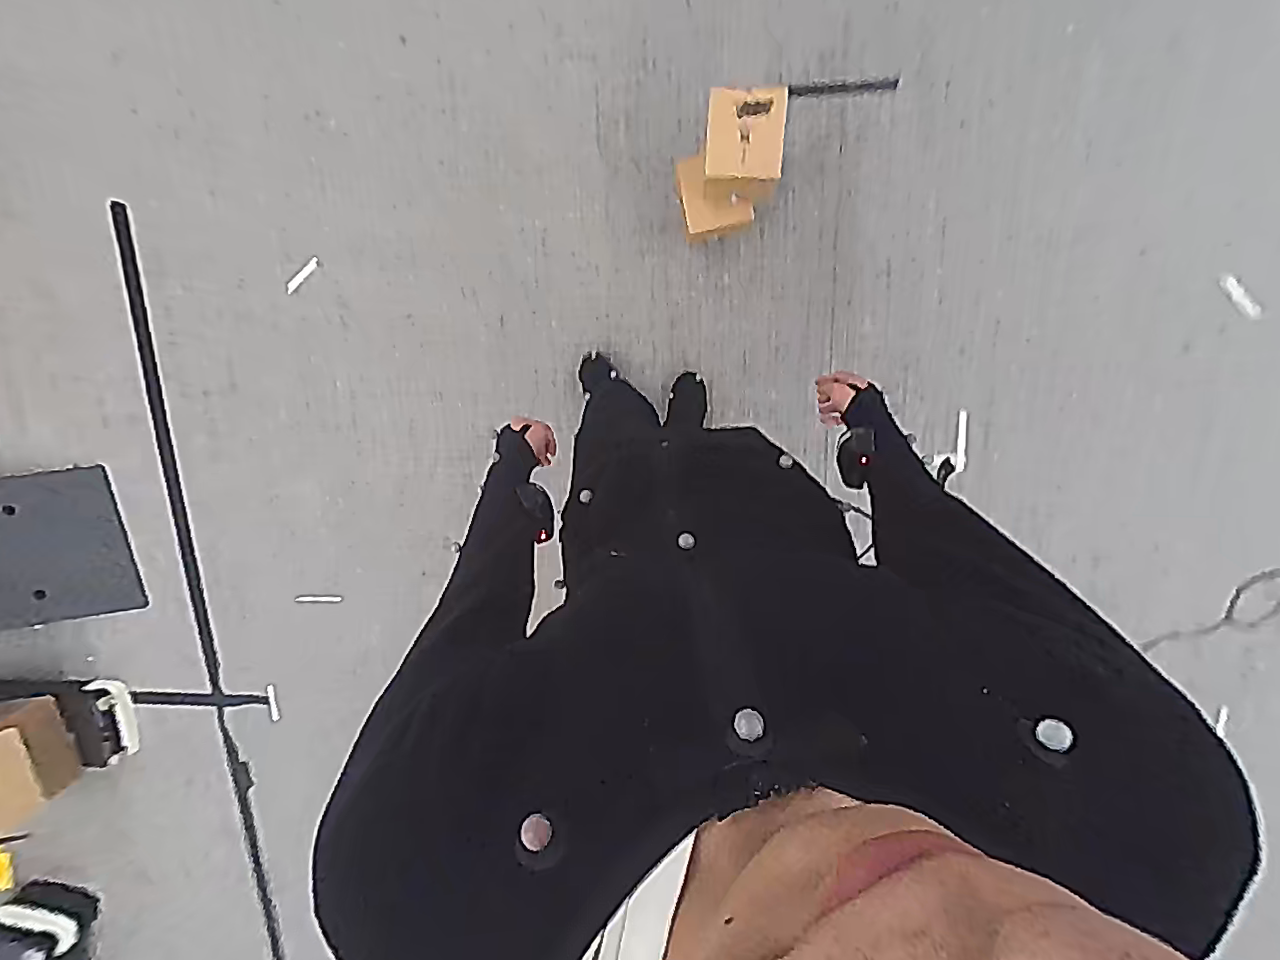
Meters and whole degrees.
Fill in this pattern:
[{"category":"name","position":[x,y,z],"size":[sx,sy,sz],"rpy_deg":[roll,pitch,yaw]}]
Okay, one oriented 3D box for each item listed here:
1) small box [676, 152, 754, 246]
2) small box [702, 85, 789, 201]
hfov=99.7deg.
[{"category":"small box","position":[0.187,-0.725,1.392],"size":[0.168,0.176,0.179],"rpy_deg":[-11,101,6]},{"category":"small box","position":[0.229,-0.750,1.217],"size":[0.168,0.176,0.179],"rpy_deg":[3,102,4]}]
